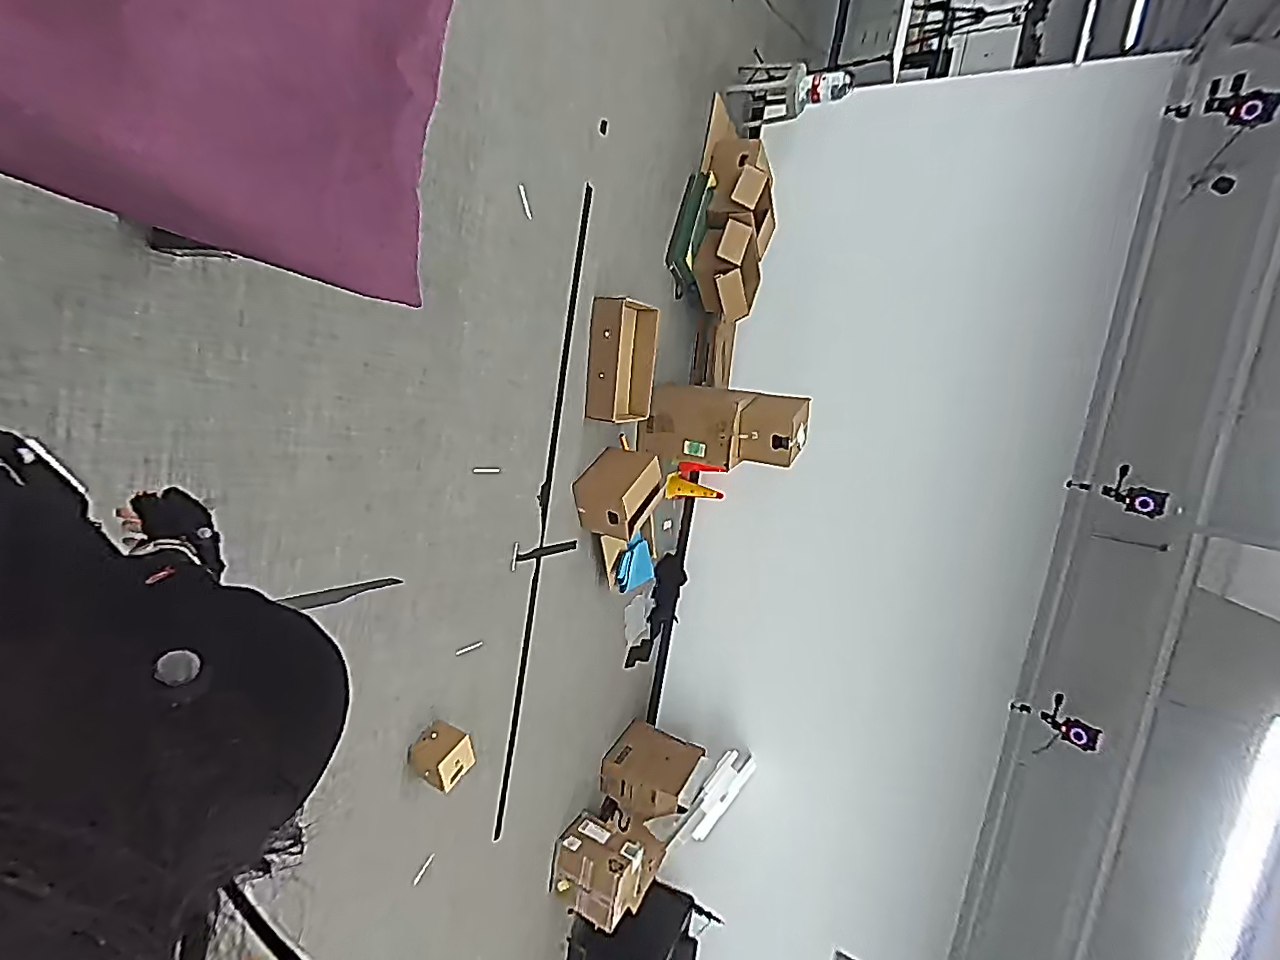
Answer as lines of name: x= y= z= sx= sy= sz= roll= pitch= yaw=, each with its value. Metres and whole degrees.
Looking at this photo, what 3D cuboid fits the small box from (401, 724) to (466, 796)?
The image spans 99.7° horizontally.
small box: x=-0.845 y=1.140 z=2.214 sx=0.168 sy=0.176 sz=0.179 roll=-40 pitch=135 yaw=-53
